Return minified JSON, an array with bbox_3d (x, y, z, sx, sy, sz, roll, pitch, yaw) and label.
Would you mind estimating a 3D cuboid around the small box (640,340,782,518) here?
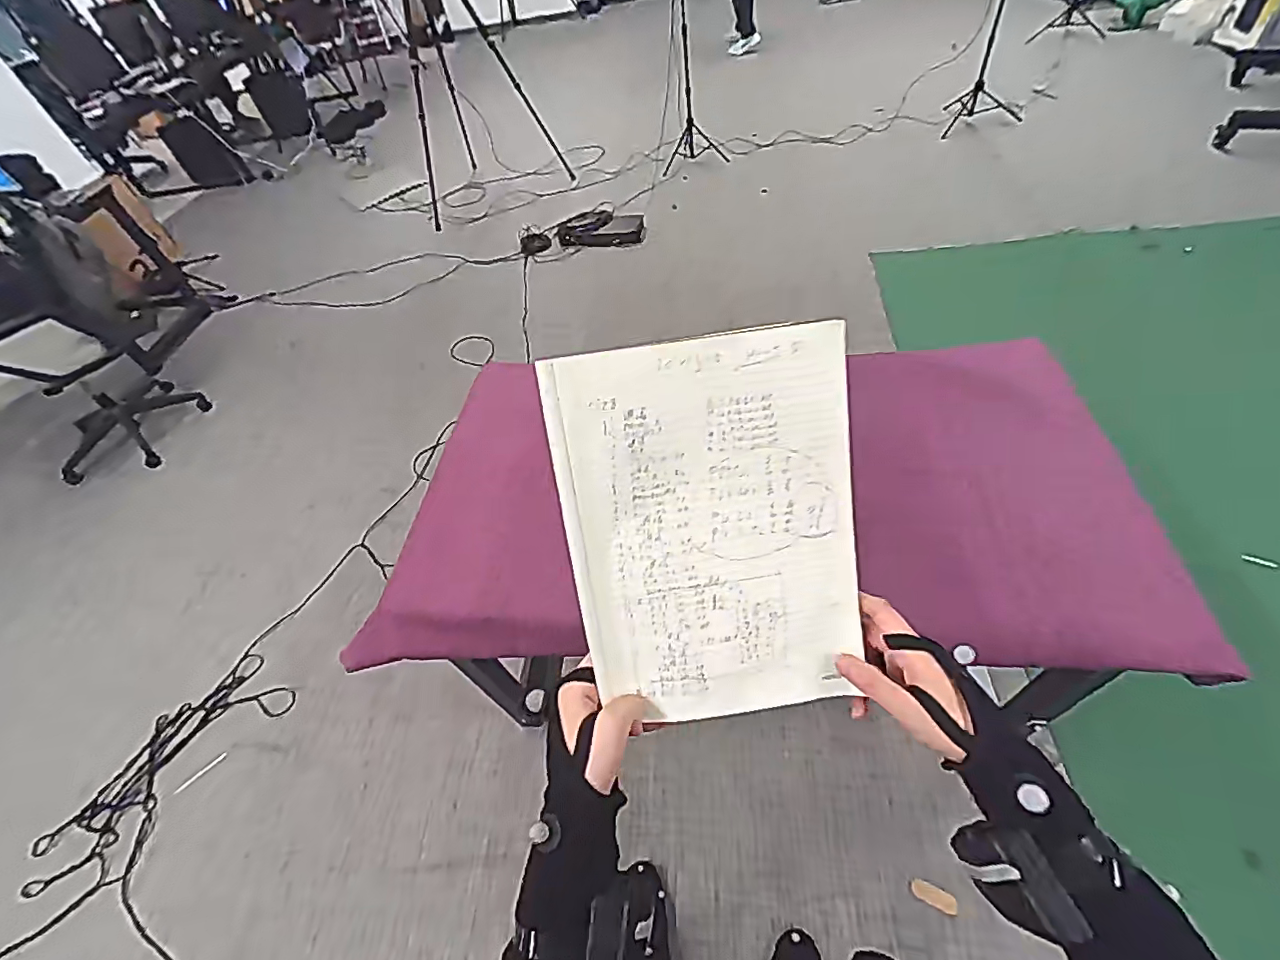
[{"bbox_3d":[0.100,-0.062,0.722,0.168,0.176,0.179,-1,48,10],"label":"small box"}]
